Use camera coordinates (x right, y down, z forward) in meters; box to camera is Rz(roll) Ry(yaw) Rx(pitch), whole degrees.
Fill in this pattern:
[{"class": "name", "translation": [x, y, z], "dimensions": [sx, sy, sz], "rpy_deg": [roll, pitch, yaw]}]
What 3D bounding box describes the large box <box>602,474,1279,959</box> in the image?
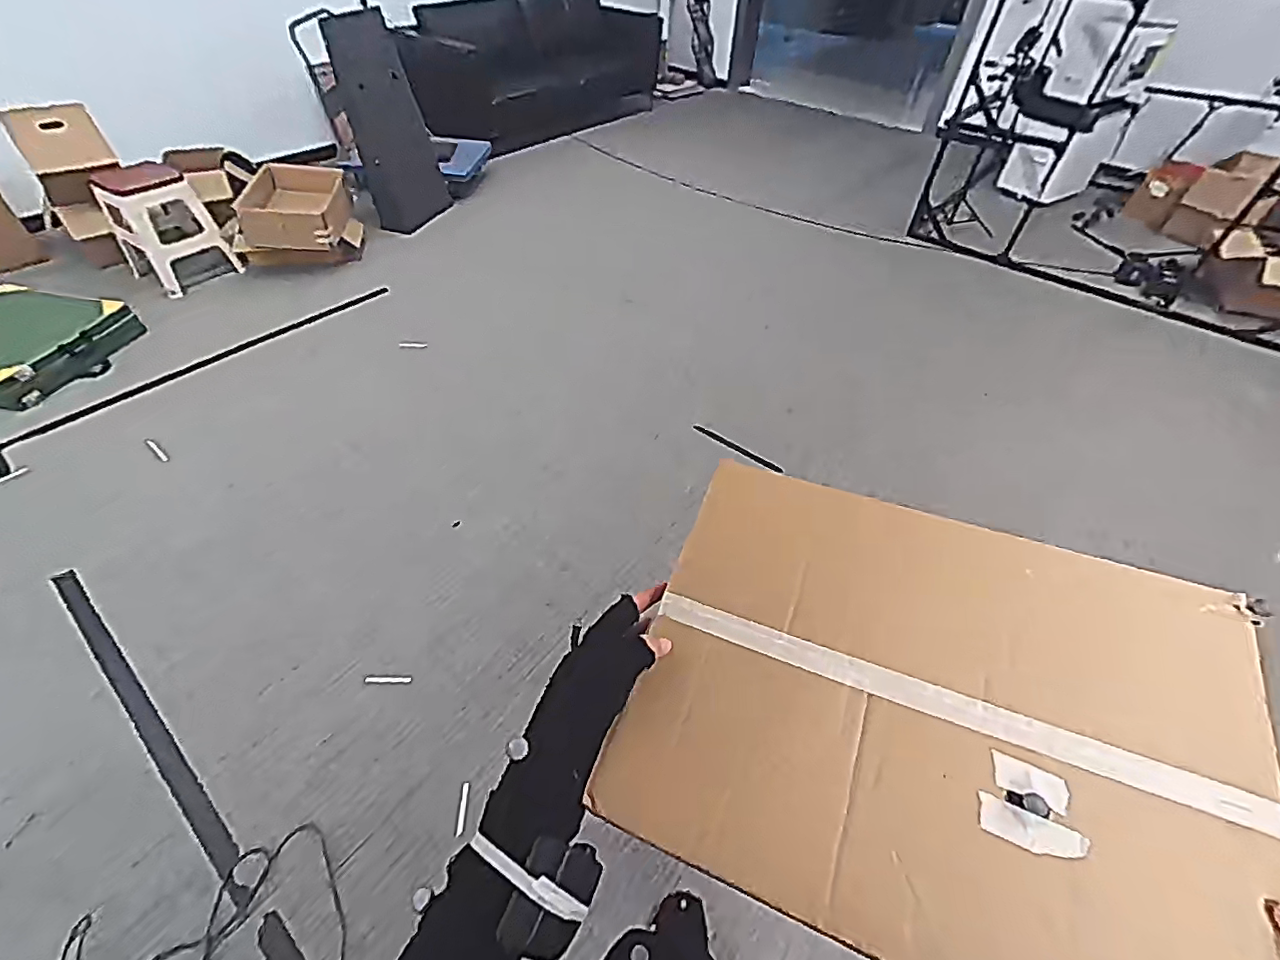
[{"class": "large box", "translation": [0.223, 0.244, 0.522], "dimensions": [0.408, 0.320, 0.320], "rpy_deg": [16, 60, 18]}]
